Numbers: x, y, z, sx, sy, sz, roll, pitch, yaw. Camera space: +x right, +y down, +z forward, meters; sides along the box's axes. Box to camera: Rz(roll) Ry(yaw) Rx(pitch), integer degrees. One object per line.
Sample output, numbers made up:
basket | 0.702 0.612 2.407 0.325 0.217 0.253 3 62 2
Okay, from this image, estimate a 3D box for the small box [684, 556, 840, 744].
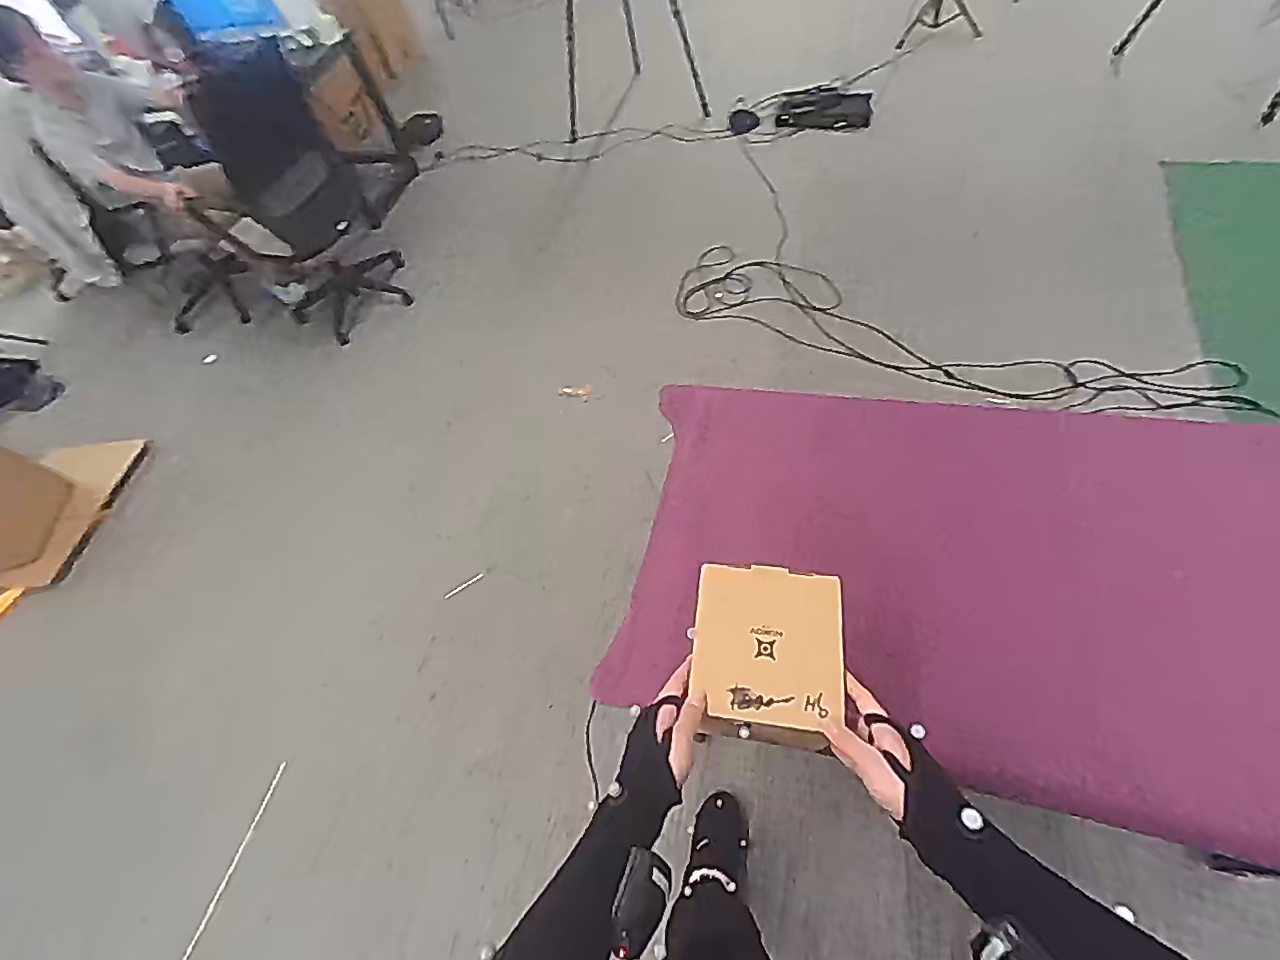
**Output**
small box | 0.149 0.216 0.678 0.168 0.176 0.179 5 60 11
